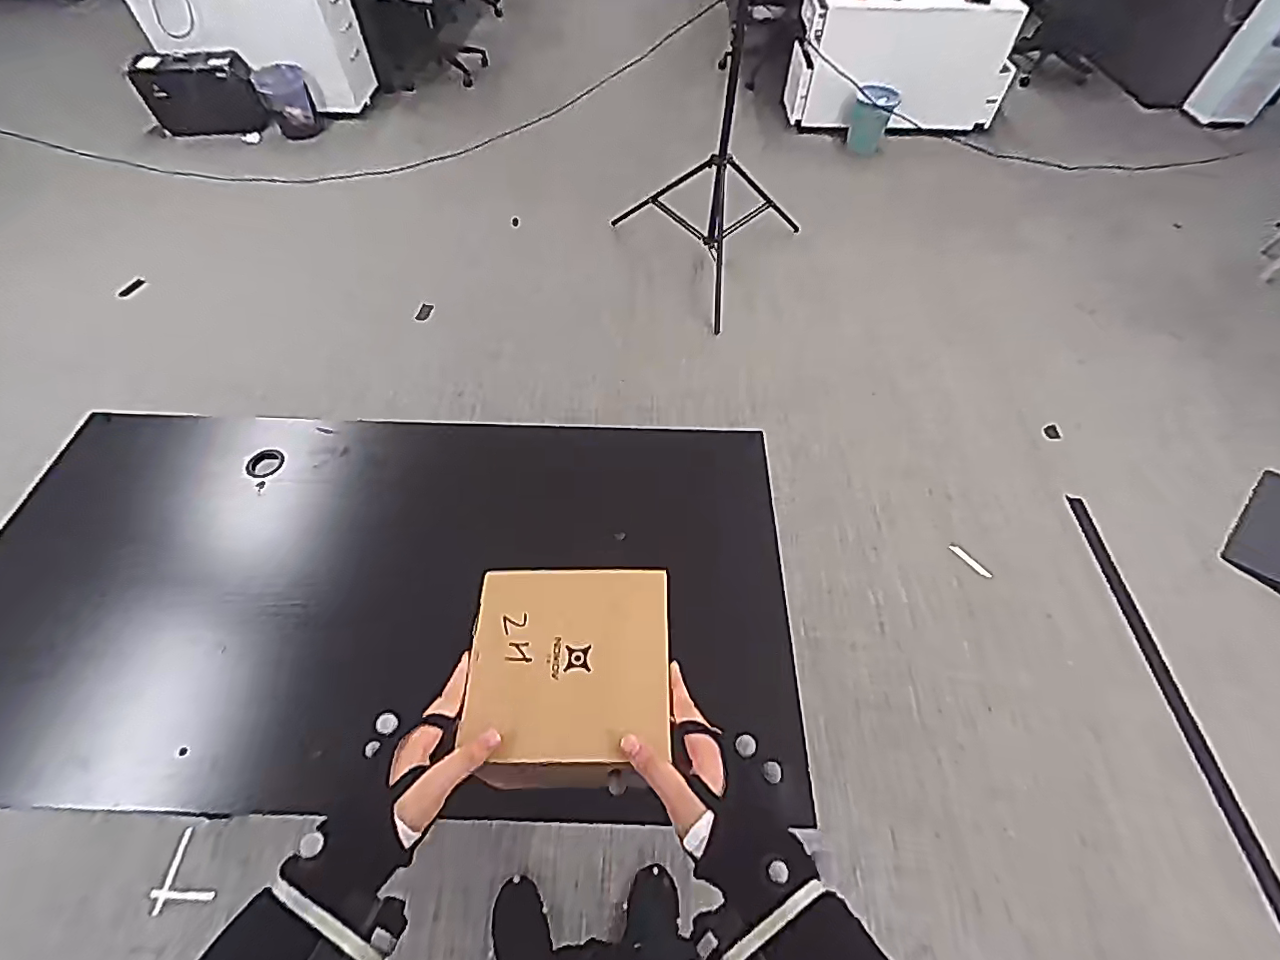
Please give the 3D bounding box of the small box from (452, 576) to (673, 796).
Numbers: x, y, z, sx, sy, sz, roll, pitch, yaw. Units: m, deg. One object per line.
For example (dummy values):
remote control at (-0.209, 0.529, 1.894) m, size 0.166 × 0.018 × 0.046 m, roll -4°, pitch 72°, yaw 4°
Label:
small box at (-0.061, 0.206, 0.535) m, size 0.179 × 0.176 × 0.168 m, roll -1°, pitch 53°, yaw 1°
